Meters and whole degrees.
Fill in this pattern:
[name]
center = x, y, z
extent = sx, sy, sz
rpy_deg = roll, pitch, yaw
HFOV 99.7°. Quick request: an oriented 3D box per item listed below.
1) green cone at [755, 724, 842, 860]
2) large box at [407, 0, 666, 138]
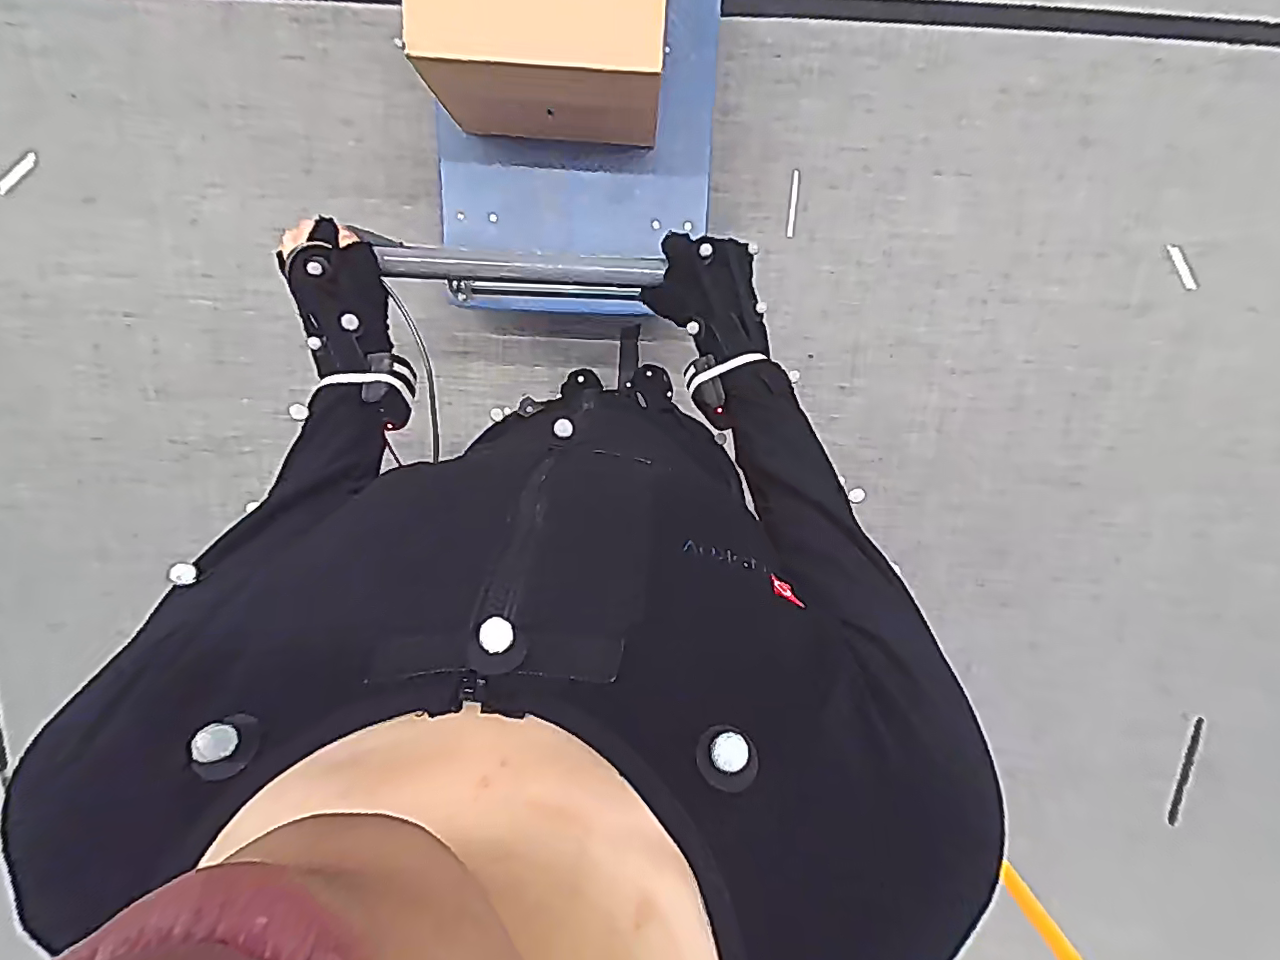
[green cone]
center = 0.471, 0.888, 1.512
extent = 0.202, 0.368, 0.200
rpy_deg = 6, 103, -3
[large box]
center = -0.155, -0.836, 0.957
extent = 0.408, 0.320, 0.320
rpy_deg = 3, 103, -1
